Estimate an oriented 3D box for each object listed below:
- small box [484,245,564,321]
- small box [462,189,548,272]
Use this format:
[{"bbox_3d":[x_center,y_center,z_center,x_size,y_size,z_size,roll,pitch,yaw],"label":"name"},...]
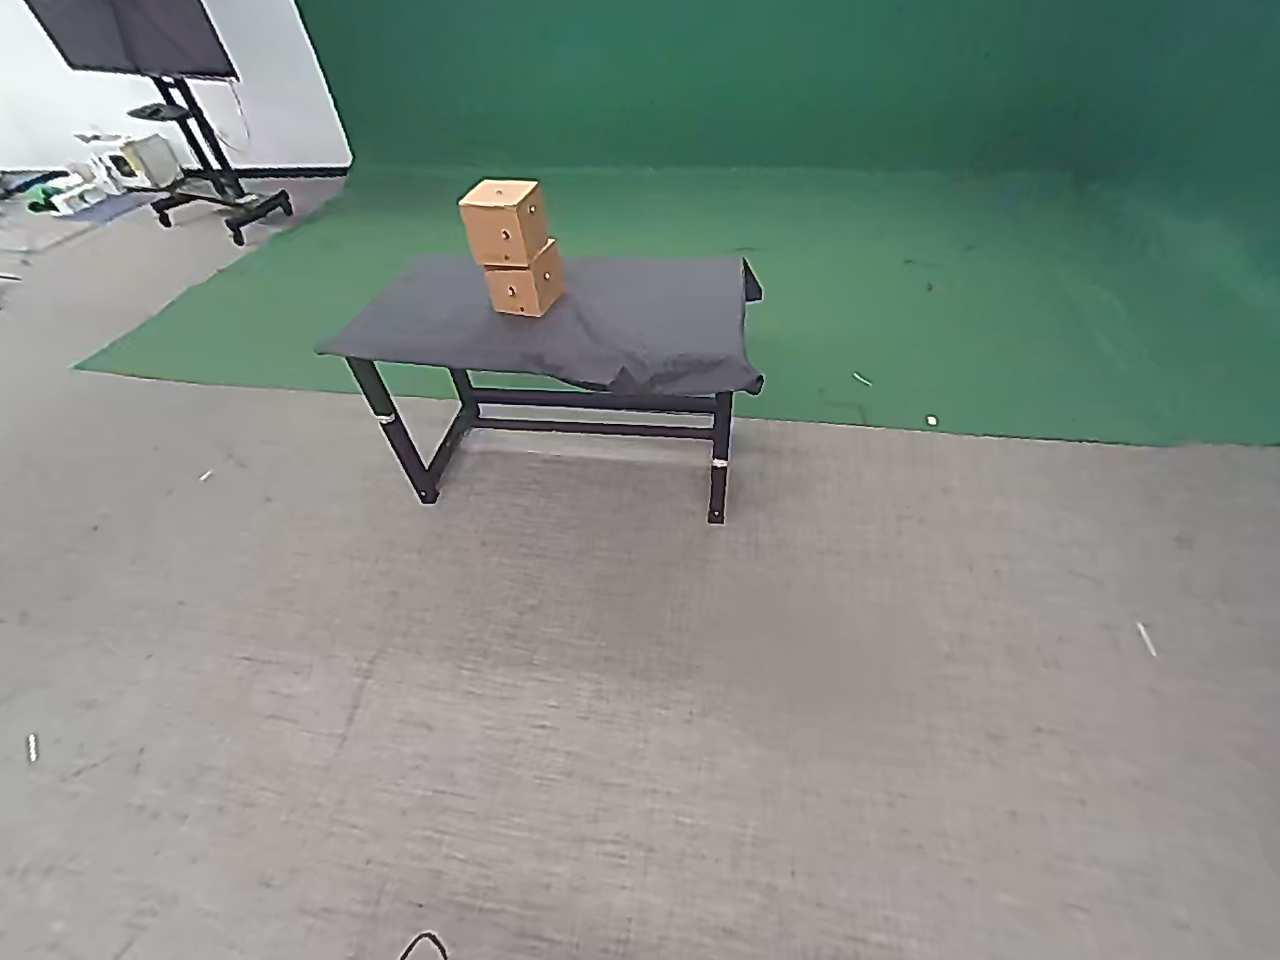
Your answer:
[{"bbox_3d":[-0.347,-0.609,1.662,0.168,0.176,0.179,12,49,15],"label":"small box"},{"bbox_3d":[-0.371,-0.706,1.531,0.168,0.176,0.179,8,47,10],"label":"small box"}]
